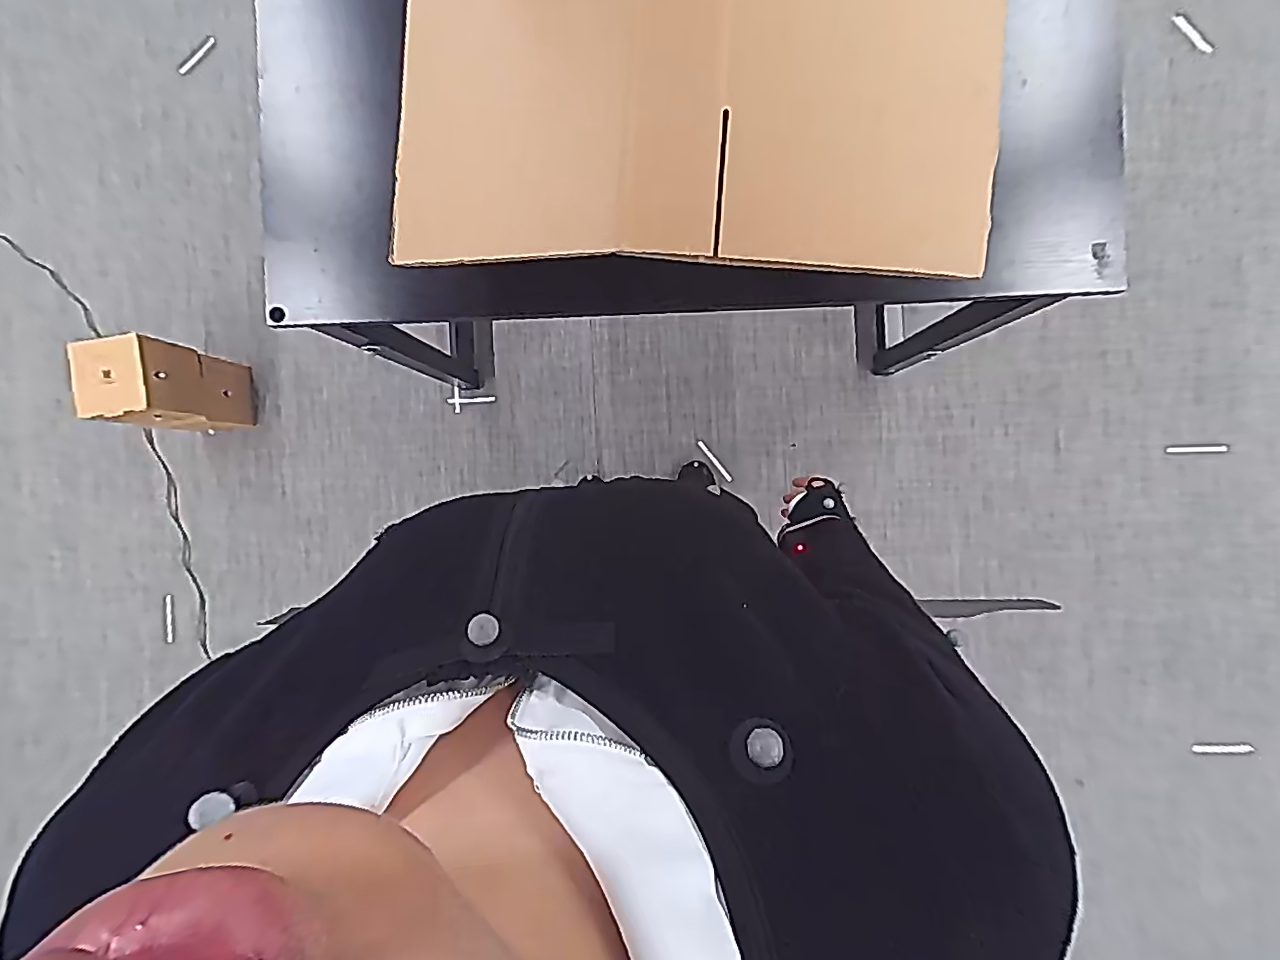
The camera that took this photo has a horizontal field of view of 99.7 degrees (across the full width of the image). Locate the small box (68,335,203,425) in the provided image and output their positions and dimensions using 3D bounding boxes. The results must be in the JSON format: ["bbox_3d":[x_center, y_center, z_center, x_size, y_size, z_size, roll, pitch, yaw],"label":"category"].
[{"bbox_3d":[-1.196,-0.230,1.296,0.168,0.176,0.179,-9,89,1],"label":"small box"}]

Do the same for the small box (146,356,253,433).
[{"bbox_3d":[-1.188,-0.225,1.459,0.168,0.176,0.179,-6,91,2],"label":"small box"}]
